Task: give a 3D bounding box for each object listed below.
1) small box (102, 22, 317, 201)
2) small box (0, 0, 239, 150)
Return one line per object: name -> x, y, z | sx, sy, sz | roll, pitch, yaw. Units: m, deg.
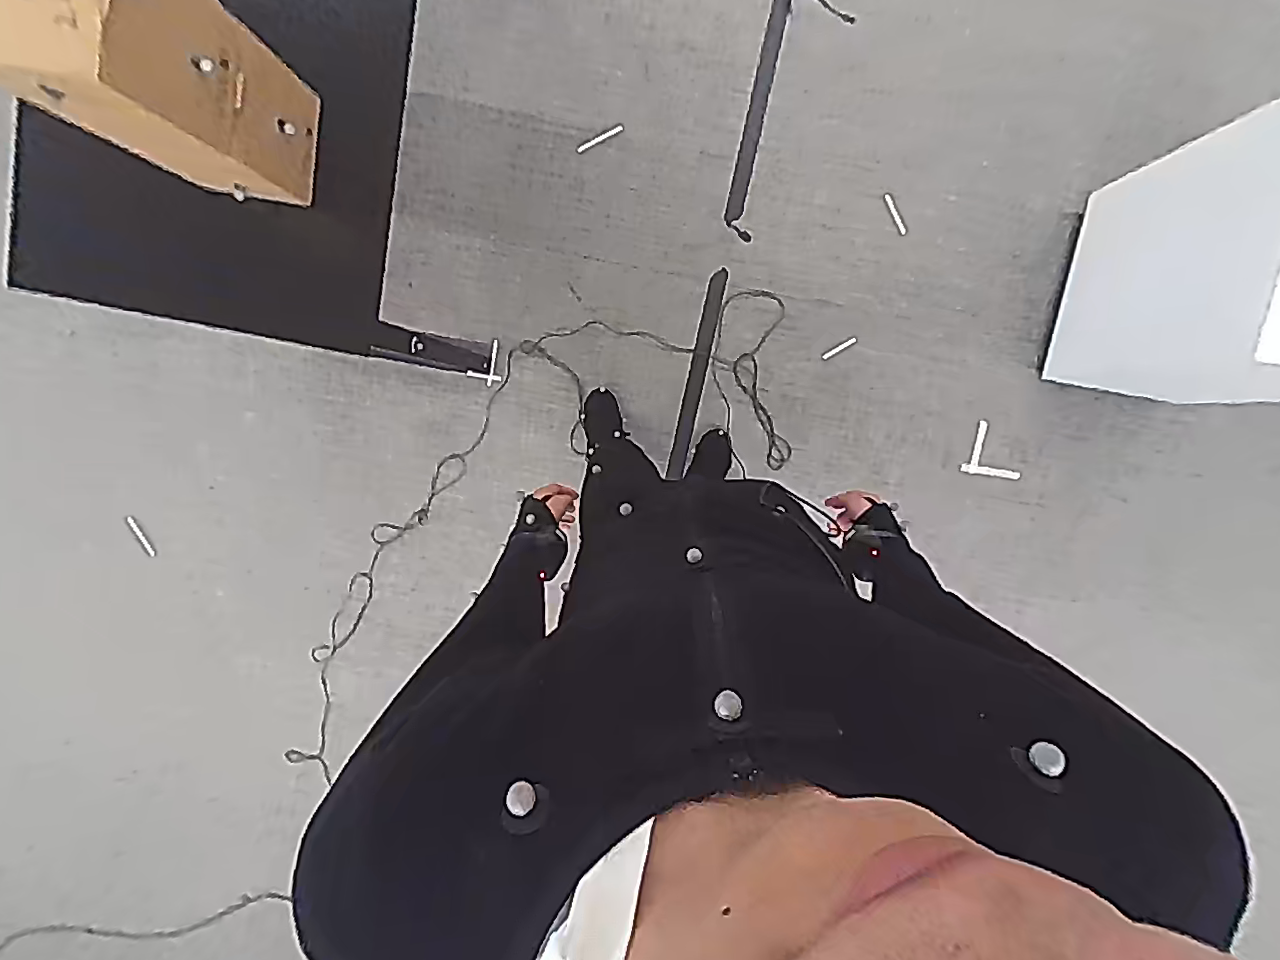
small box -> -0.594, -0.519, 0.767 | 0.179, 0.176, 0.168 | 9, 97, 0
small box -> -0.601, -0.501, 0.603 | 0.179, 0.176, 0.168 | 10, 97, 0
